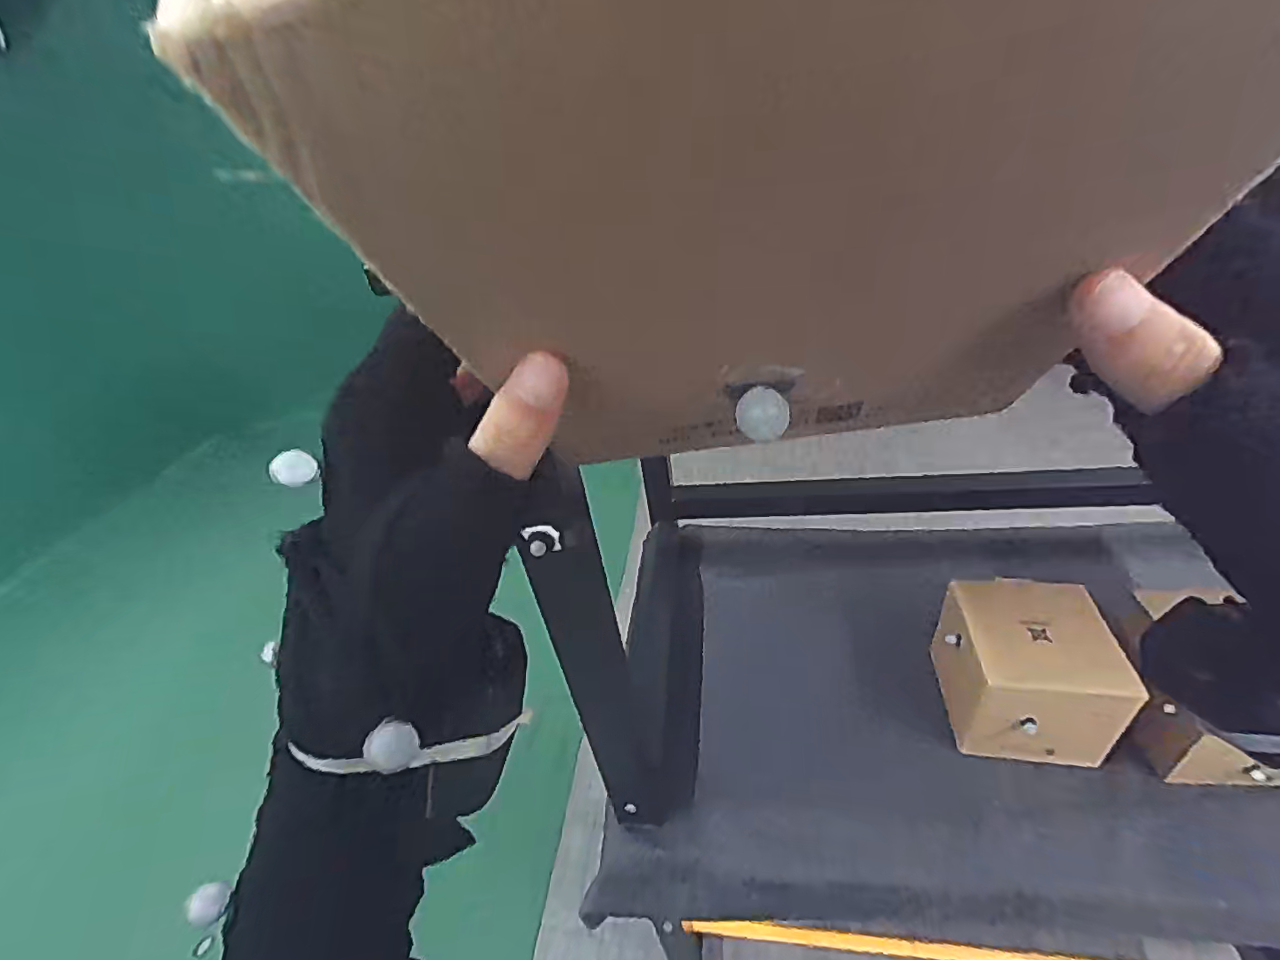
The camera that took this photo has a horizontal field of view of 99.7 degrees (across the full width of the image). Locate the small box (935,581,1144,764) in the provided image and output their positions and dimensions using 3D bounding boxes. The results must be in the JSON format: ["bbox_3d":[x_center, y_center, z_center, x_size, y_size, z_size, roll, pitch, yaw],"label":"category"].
[{"bbox_3d":[0.525,0.262,0.744,0.168,0.176,0.179,0,36,13],"label":"small box"}]

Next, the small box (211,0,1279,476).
[{"bbox_3d":[0.034,-0.114,0.159,0.168,0.176,0.179,-7,73,9],"label":"small box"}]
